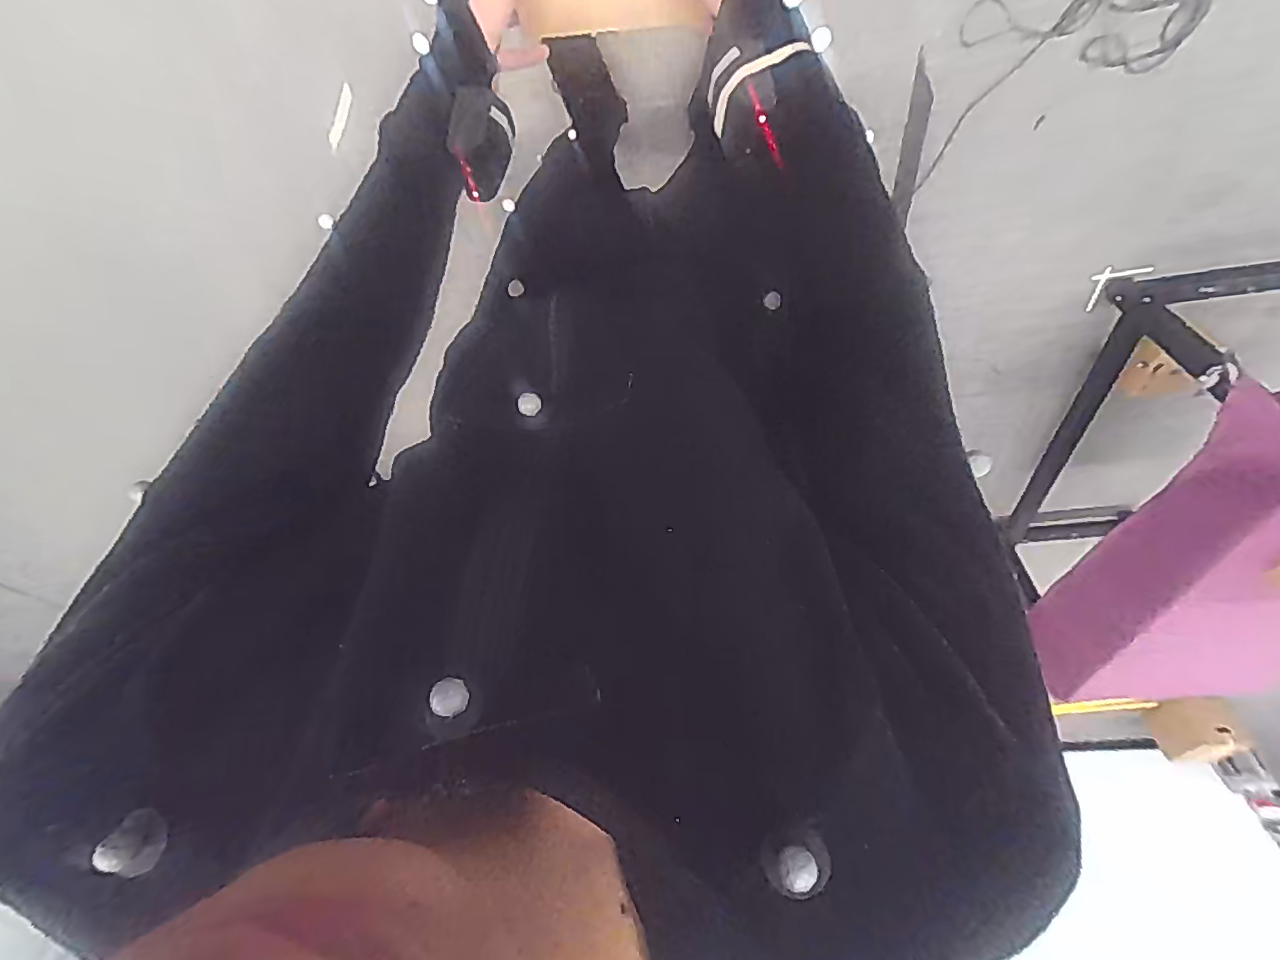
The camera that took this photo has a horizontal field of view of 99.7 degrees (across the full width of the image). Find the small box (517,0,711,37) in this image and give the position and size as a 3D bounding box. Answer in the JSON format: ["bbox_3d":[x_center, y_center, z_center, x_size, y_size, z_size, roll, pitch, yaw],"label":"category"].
[{"bbox_3d":[-0.028,-0.531,0.487,0.179,0.176,0.168,-2,141,4],"label":"small box"}]
